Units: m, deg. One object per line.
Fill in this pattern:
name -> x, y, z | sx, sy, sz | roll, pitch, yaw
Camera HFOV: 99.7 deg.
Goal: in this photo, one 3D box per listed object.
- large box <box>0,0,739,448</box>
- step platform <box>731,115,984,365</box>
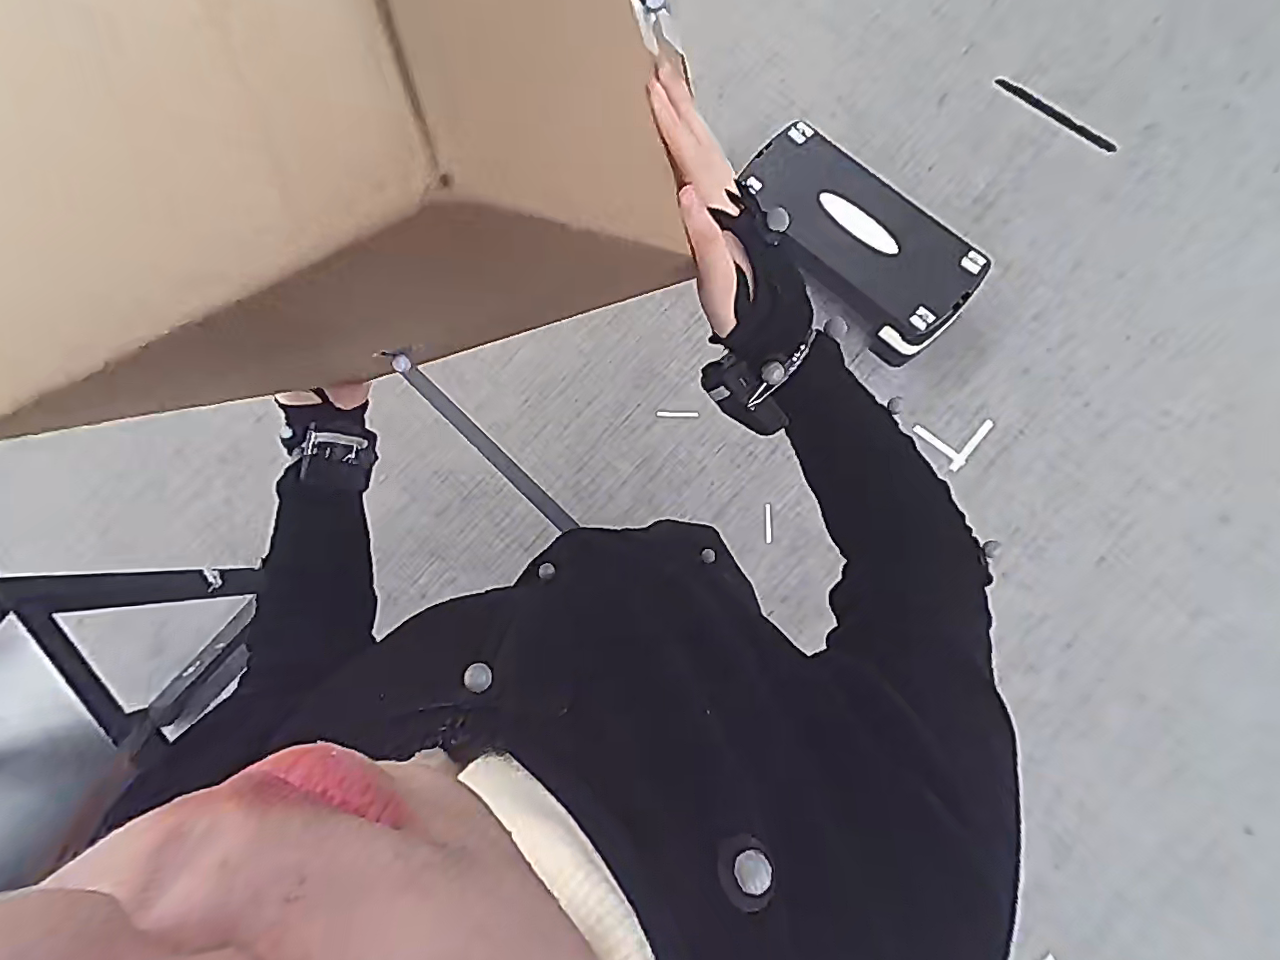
large box -> -0.197, -0.235, 0.318 | 0.408, 0.320, 0.320 | -9, 103, 26
step platform -> 0.558, -0.649, 1.462 | 0.286, 0.204, 0.684 | -41, 79, -1
